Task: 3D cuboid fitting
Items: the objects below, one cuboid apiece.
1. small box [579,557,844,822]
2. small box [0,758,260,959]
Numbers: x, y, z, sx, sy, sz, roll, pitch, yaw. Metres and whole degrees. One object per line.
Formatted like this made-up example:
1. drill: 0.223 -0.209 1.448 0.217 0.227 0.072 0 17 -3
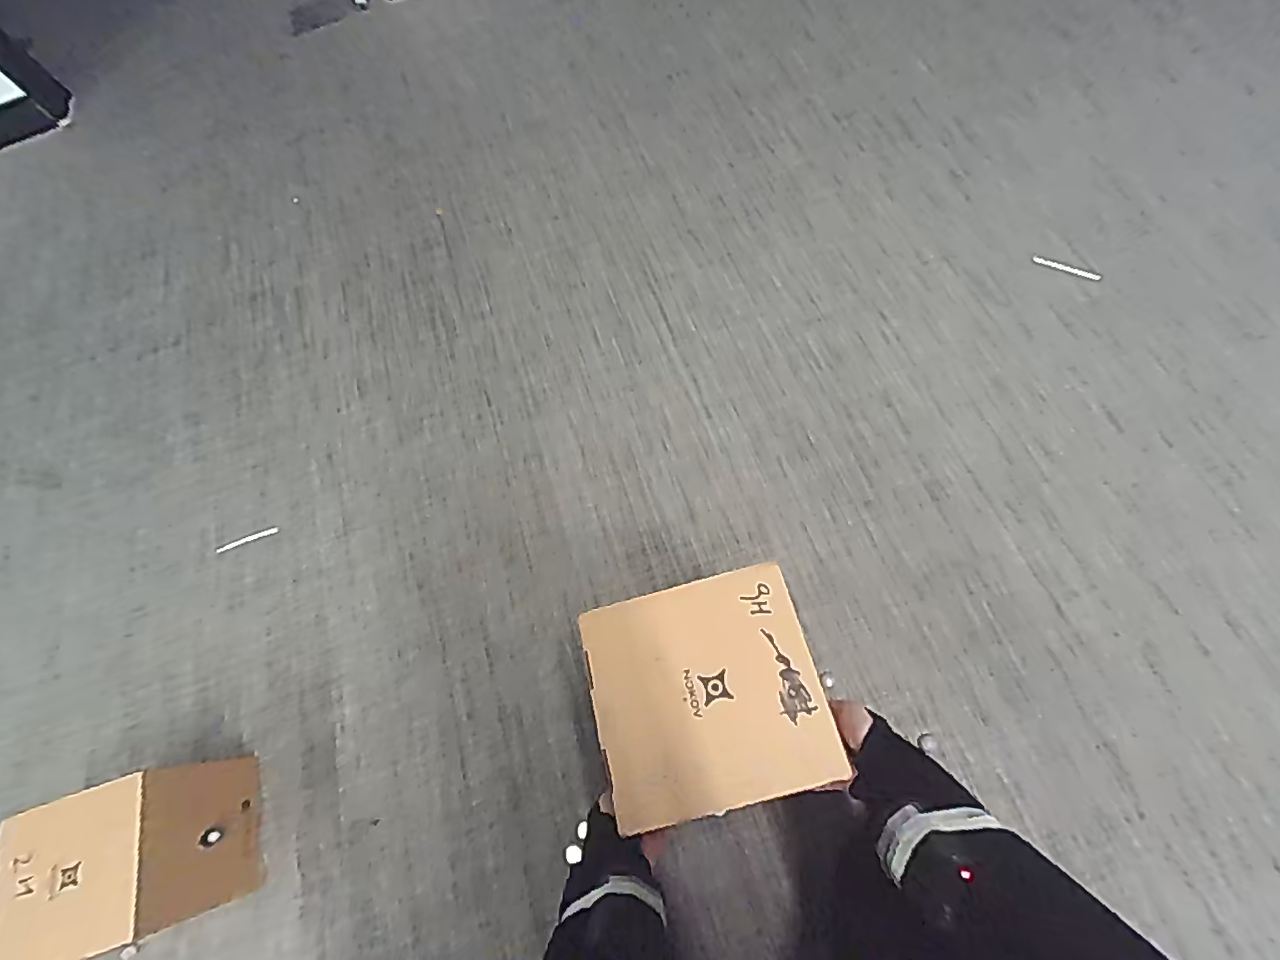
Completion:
1. small box: 0.061 0.189 0.497 0.179 0.176 0.168 -16 67 2
2. small box: -0.606 0.460 0.666 0.179 0.176 0.168 -19 66 0
